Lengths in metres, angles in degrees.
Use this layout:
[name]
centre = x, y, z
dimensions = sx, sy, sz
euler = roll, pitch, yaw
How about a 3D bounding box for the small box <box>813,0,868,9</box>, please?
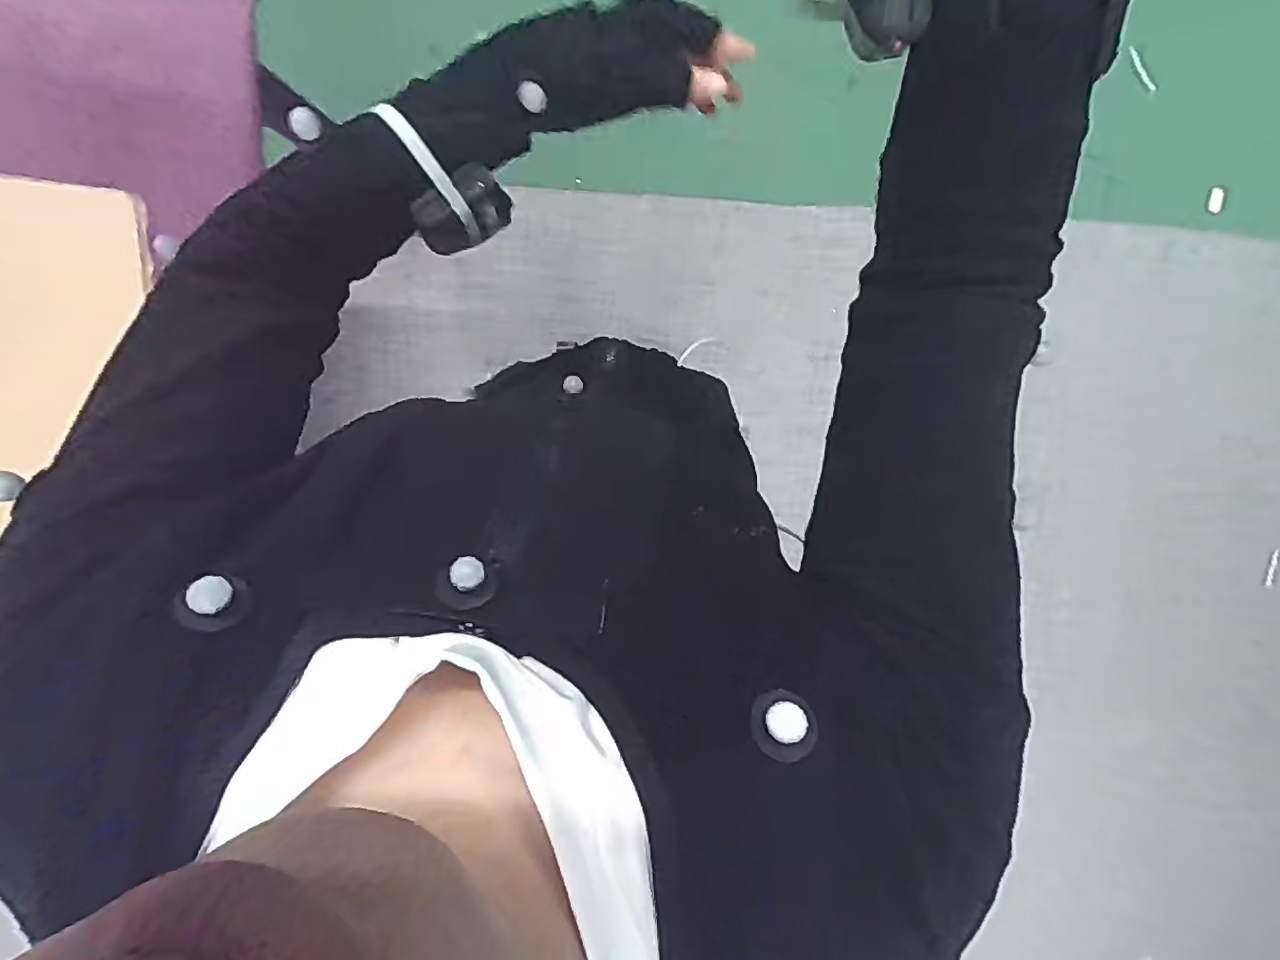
[small box]
centre = 0.454, -1.173, 1.167
dimensions = 0.168, 0.176, 0.179
euler = 6, 100, -2
